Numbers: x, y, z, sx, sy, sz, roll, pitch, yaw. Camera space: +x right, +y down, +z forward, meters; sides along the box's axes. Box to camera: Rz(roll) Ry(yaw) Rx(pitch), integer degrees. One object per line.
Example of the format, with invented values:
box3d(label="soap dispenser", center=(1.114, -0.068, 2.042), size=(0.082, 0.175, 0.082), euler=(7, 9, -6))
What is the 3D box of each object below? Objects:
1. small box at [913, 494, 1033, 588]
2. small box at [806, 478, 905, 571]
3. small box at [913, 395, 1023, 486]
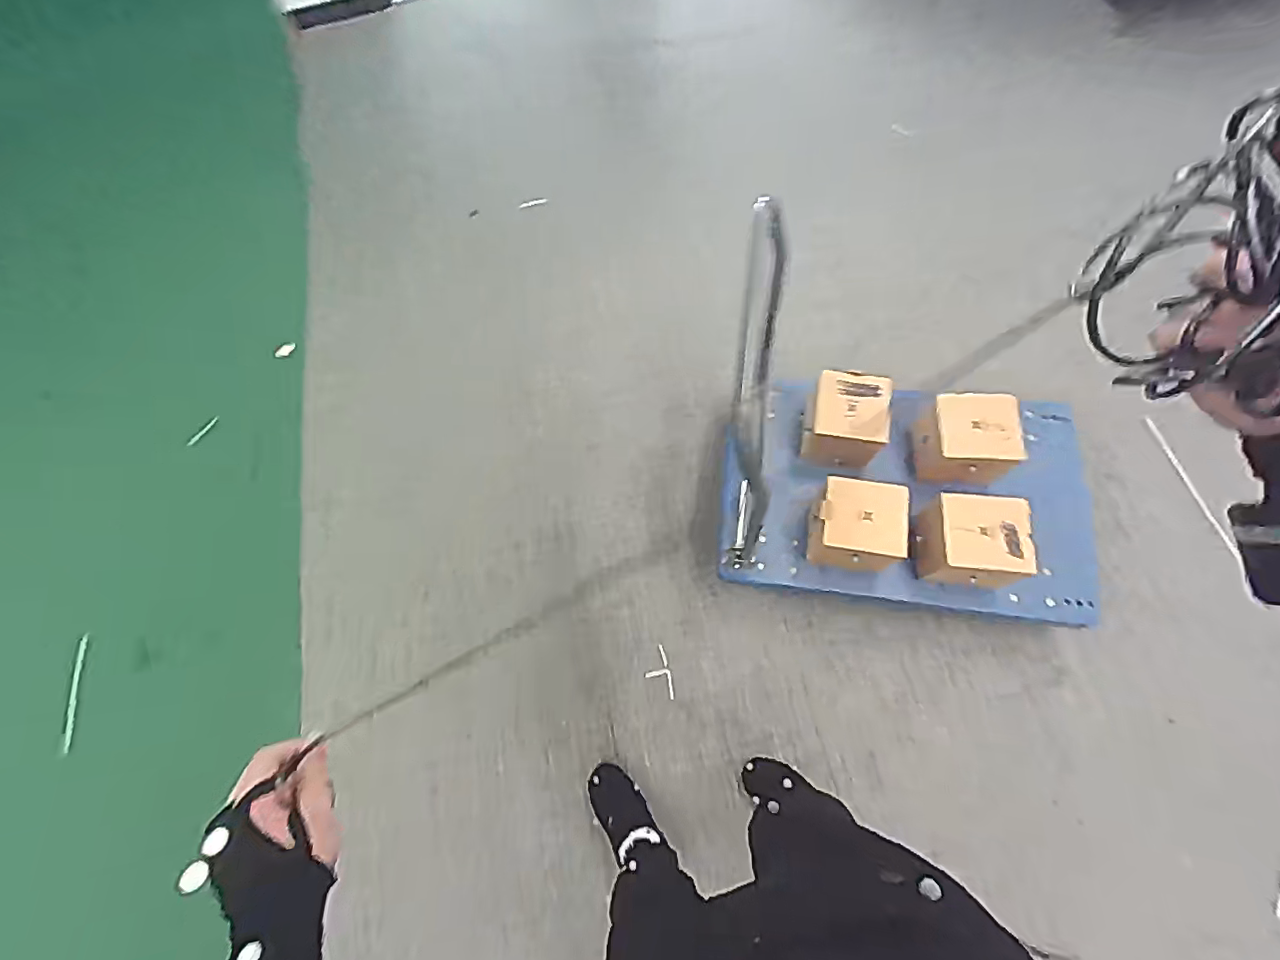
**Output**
box3d(label="small box", center=(0.742, 0.144, 1.222), size=(0.179, 0.176, 0.168), euler=(5, 69, 8))
box3d(label="small box", center=(0.497, 0.110, 1.260), size=(0.179, 0.176, 0.168), euler=(8, 70, 9))
box3d(label="small box", center=(0.779, -0.091, 1.310), size=(0.179, 0.176, 0.168), euler=(3, 70, 6))
